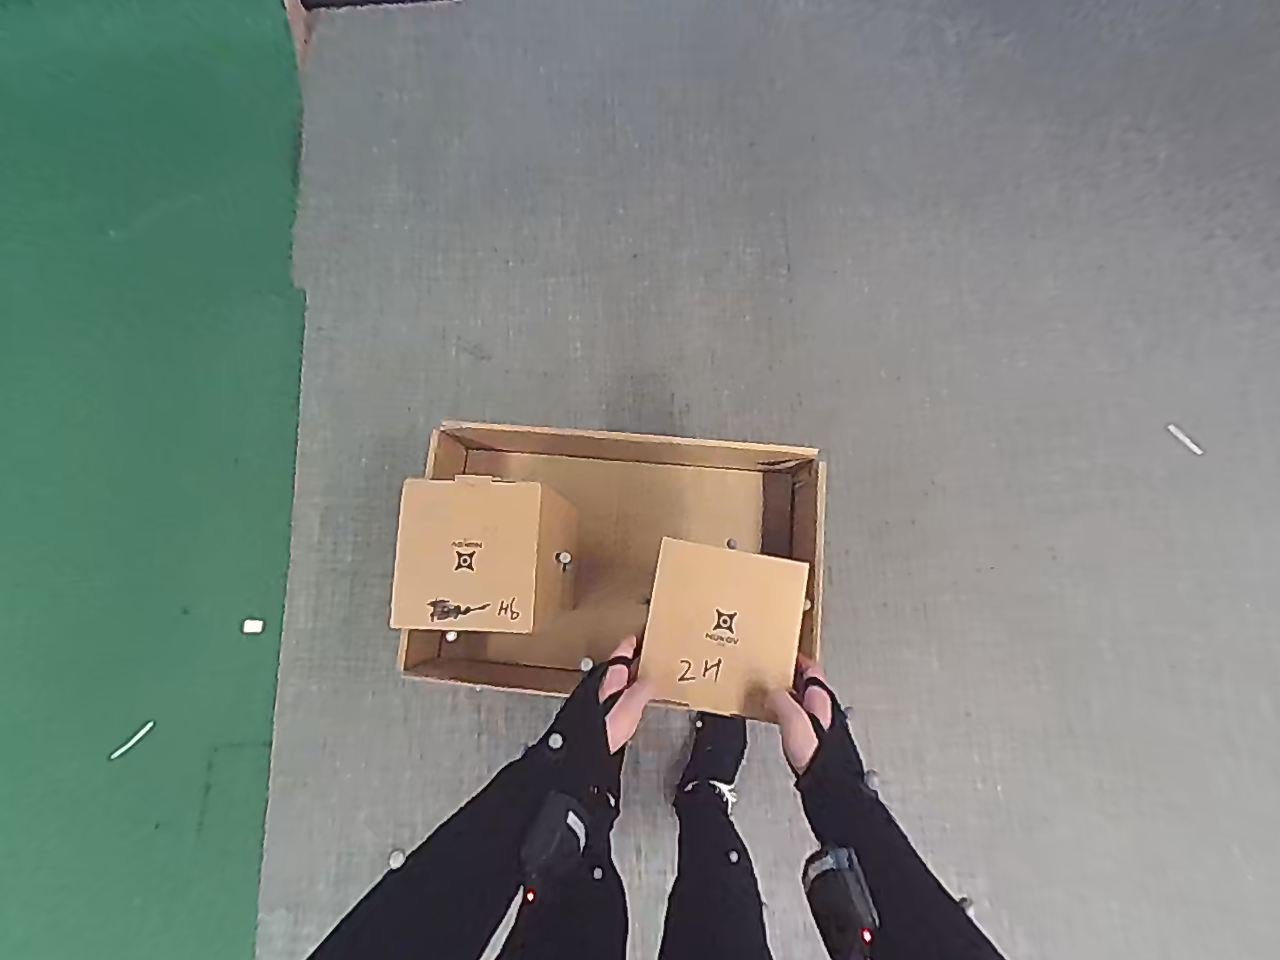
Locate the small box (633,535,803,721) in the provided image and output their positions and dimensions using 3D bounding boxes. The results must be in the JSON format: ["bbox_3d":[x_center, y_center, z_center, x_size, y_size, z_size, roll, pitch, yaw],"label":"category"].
[{"bbox_3d":[0.090,0.170,0.674,0.168,0.176,0.179,10,84,5],"label":"small box"}]

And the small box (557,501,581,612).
[{"bbox_3d":[-0.193,0.124,0.875,0.168,0.176,0.179,3,81,3],"label":"small box"}]

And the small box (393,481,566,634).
[{"bbox_3d":[-0.197,0.102,0.712,0.168,0.176,0.179,0,81,5],"label":"small box"}]
